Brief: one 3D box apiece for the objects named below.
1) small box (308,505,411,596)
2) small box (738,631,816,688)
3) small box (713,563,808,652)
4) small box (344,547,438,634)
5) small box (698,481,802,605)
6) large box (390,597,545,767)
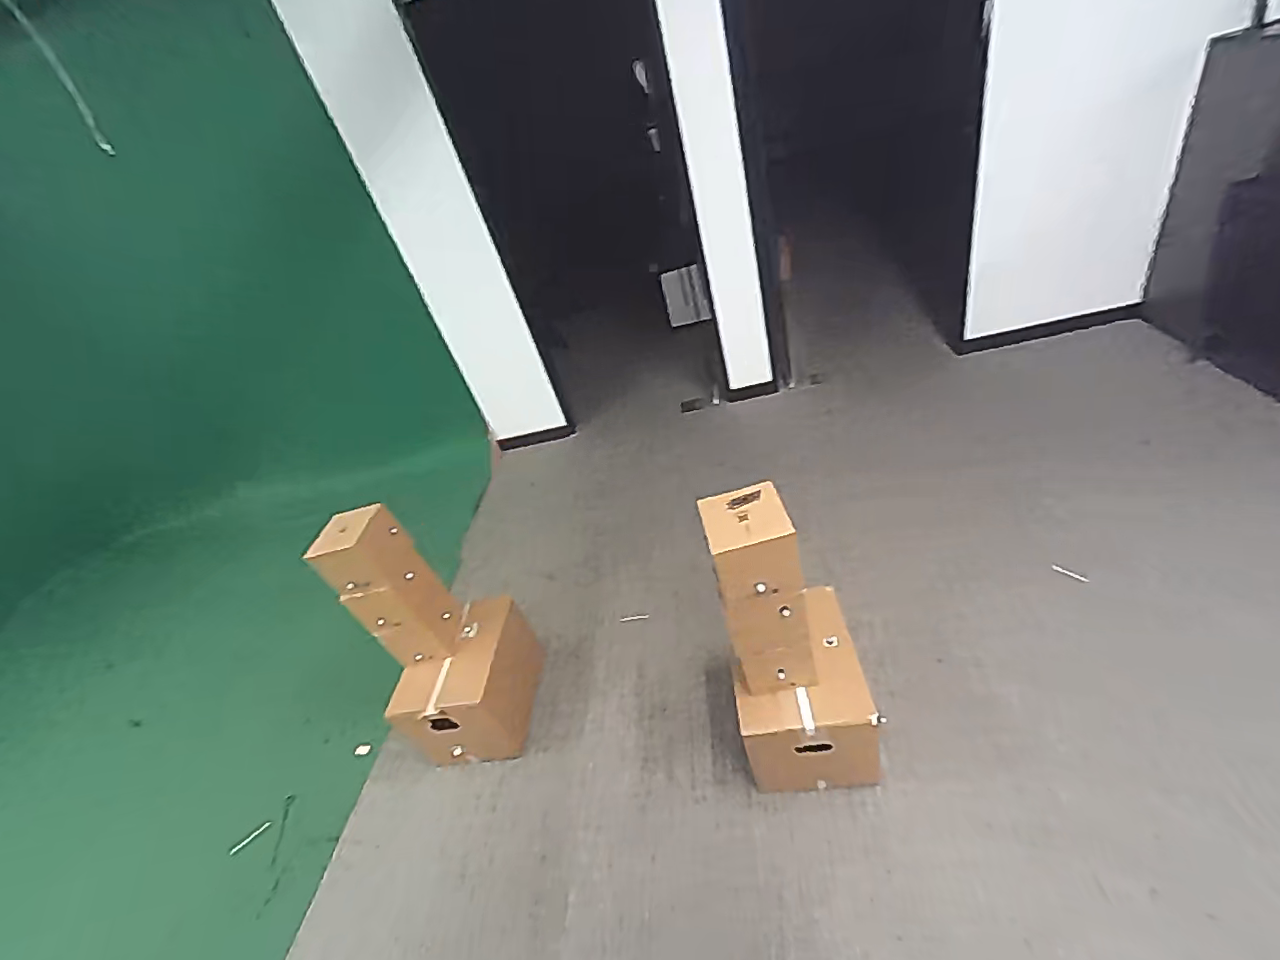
[{"bbox_3d":[-0.782,0.202,1.534,0.168,0.176,0.179,-14,36,14],"label":"small box"},{"bbox_3d":[0.325,0.390,1.332,0.168,0.176,0.179,-15,36,9],"label":"small box"},{"bbox_3d":[0.276,0.265,1.235,0.179,0.176,0.168,-15,34,9],"label":"small box"},{"bbox_3d":[-0.735,0.331,1.621,0.168,0.176,0.179,-15,36,12],"label":"small box"},{"bbox_3d":[0.231,0.134,1.145,0.168,0.176,0.179,-17,36,6],"label":"small box"},{"bbox_3d":[-0.542,0.663,1.792,0.320,0.320,0.408,-12,35,11],"label":"large box"}]
